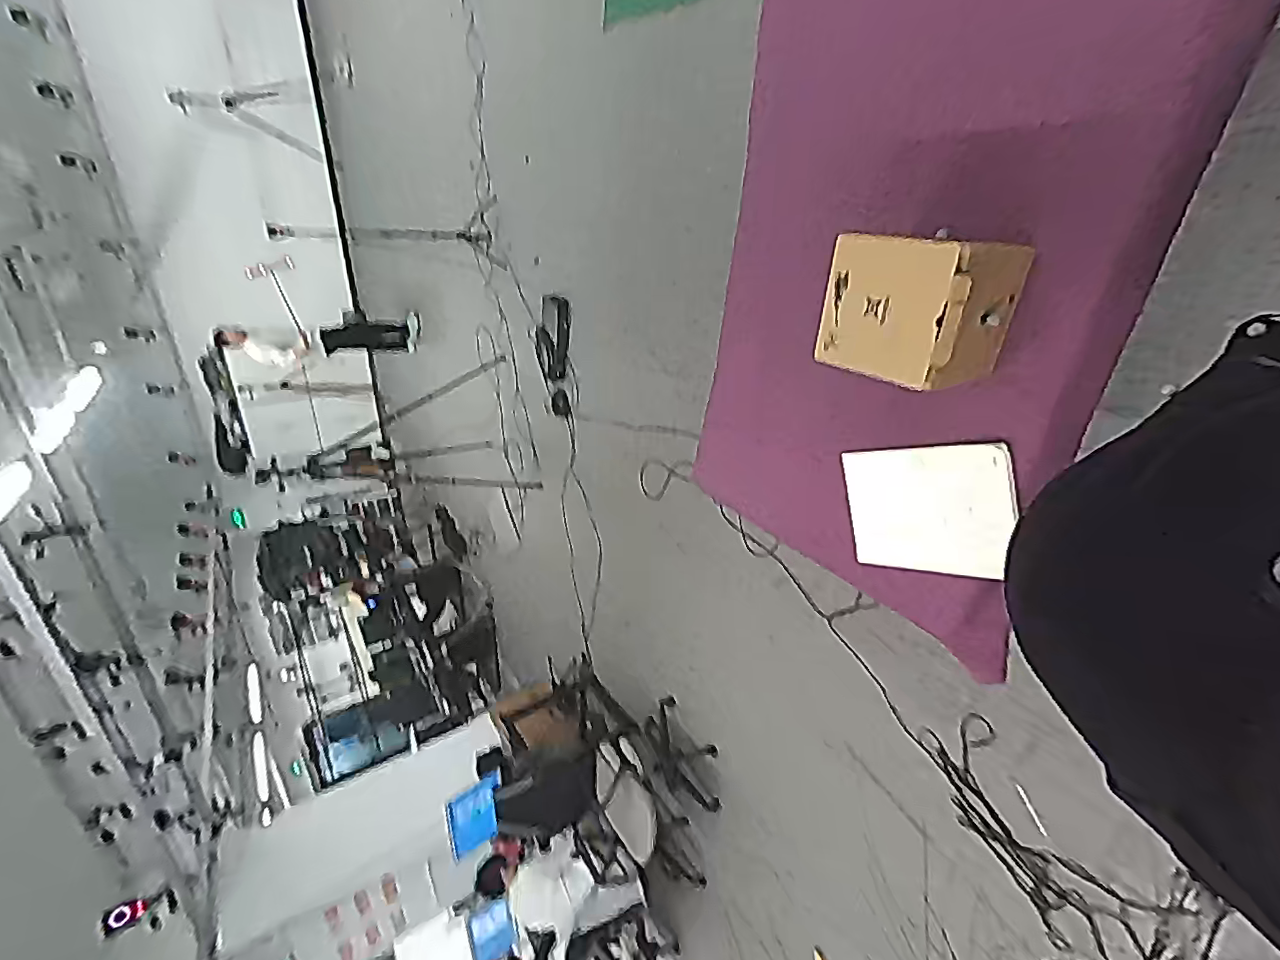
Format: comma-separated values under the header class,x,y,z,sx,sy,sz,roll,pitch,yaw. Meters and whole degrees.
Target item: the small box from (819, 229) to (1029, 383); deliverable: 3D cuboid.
class,x,y,z,sx,sy,sz,roll,pitch,yaw
small box,0.378,-0.242,0.728,0.179,0.176,0.168,34,129,45
